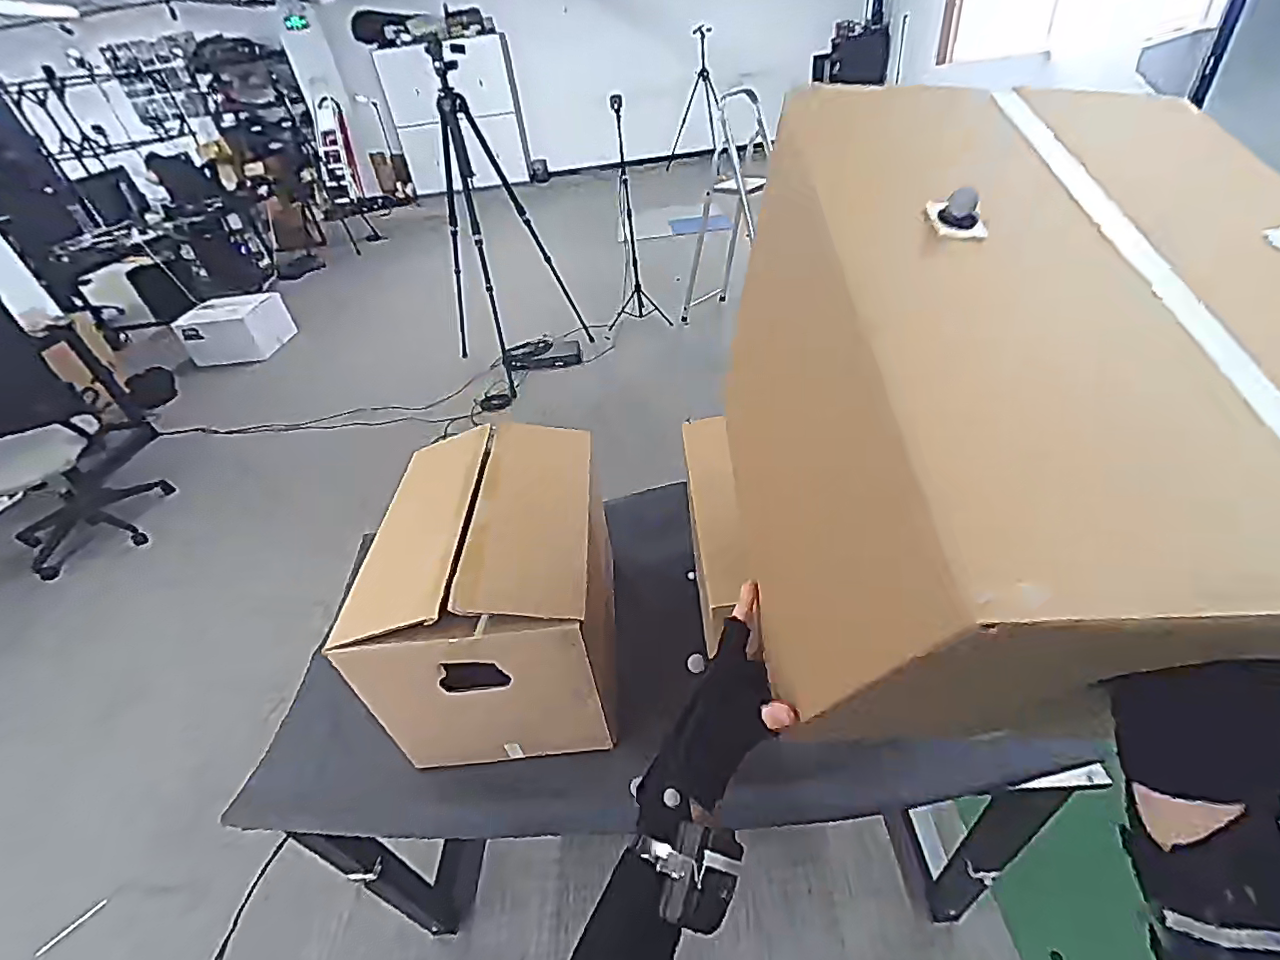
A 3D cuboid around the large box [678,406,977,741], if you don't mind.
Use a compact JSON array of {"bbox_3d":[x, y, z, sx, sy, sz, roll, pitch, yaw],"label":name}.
[{"bbox_3d":[0.245,0.132,0.855,0.320,0.320,0.408,-7,37,4],"label":"large box"}]
